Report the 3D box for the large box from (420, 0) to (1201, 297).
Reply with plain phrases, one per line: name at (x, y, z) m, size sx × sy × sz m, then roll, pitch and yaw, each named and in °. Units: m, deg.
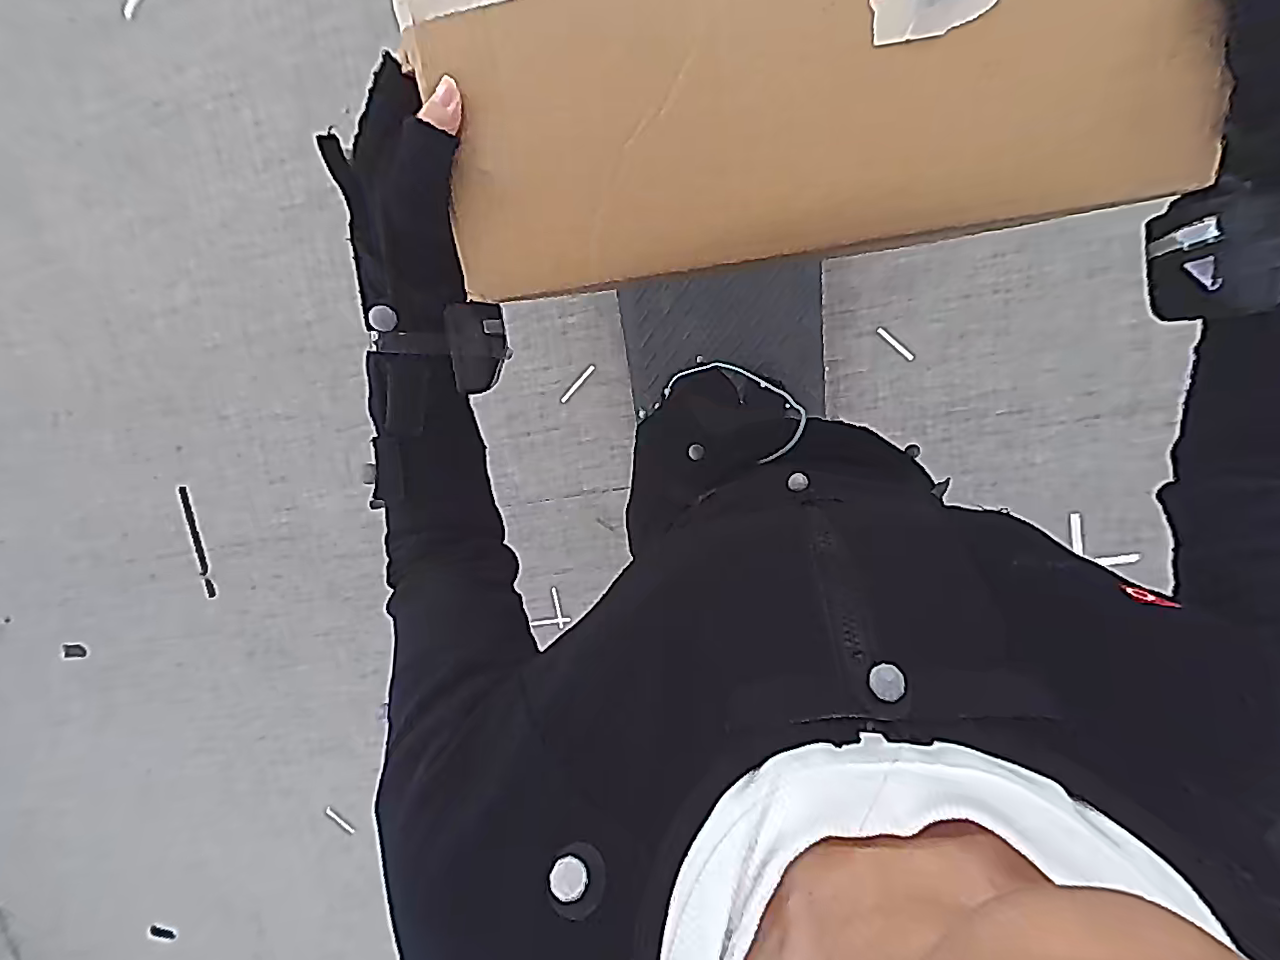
large box at (0.086, -0.334, 0.415) m, size 0.408 × 0.320 × 0.320 m, roll -6°, pitch 109°, yaw 9°
